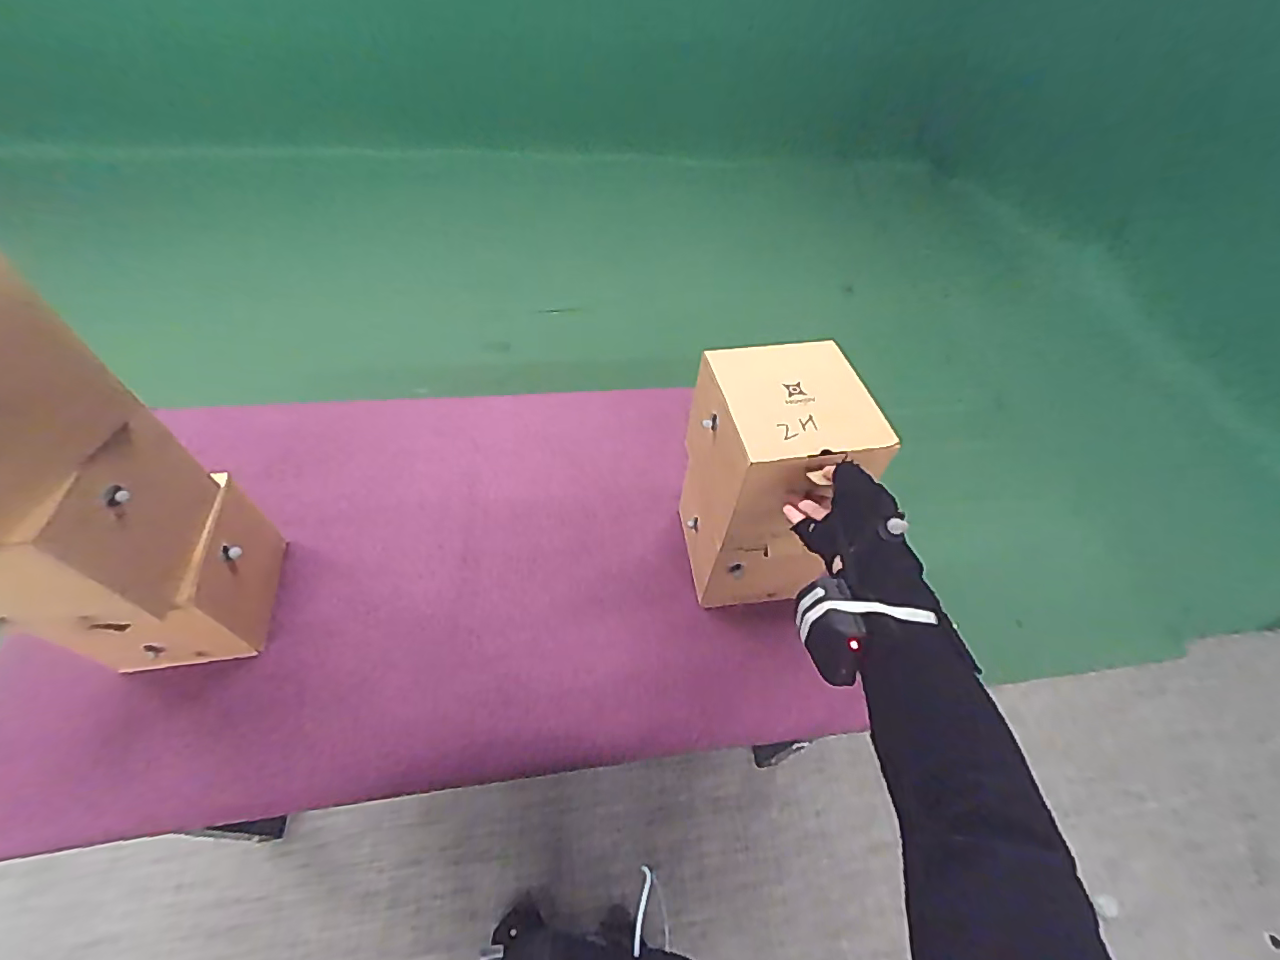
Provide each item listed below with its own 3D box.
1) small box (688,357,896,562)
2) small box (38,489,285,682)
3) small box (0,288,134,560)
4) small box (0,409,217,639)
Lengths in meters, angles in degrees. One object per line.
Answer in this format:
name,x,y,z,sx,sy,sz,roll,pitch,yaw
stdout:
small box,0.163,-0.024,0.654,0.168,0.176,0.179,-7,53,-9
small box,-0.580,0.133,0.679,0.168,0.176,0.179,-5,55,-10
small box,-0.560,-0.050,0.407,0.168,0.176,0.179,13,55,3
small box,-0.573,0.049,0.538,0.168,0.176,0.179,-1,53,-7
